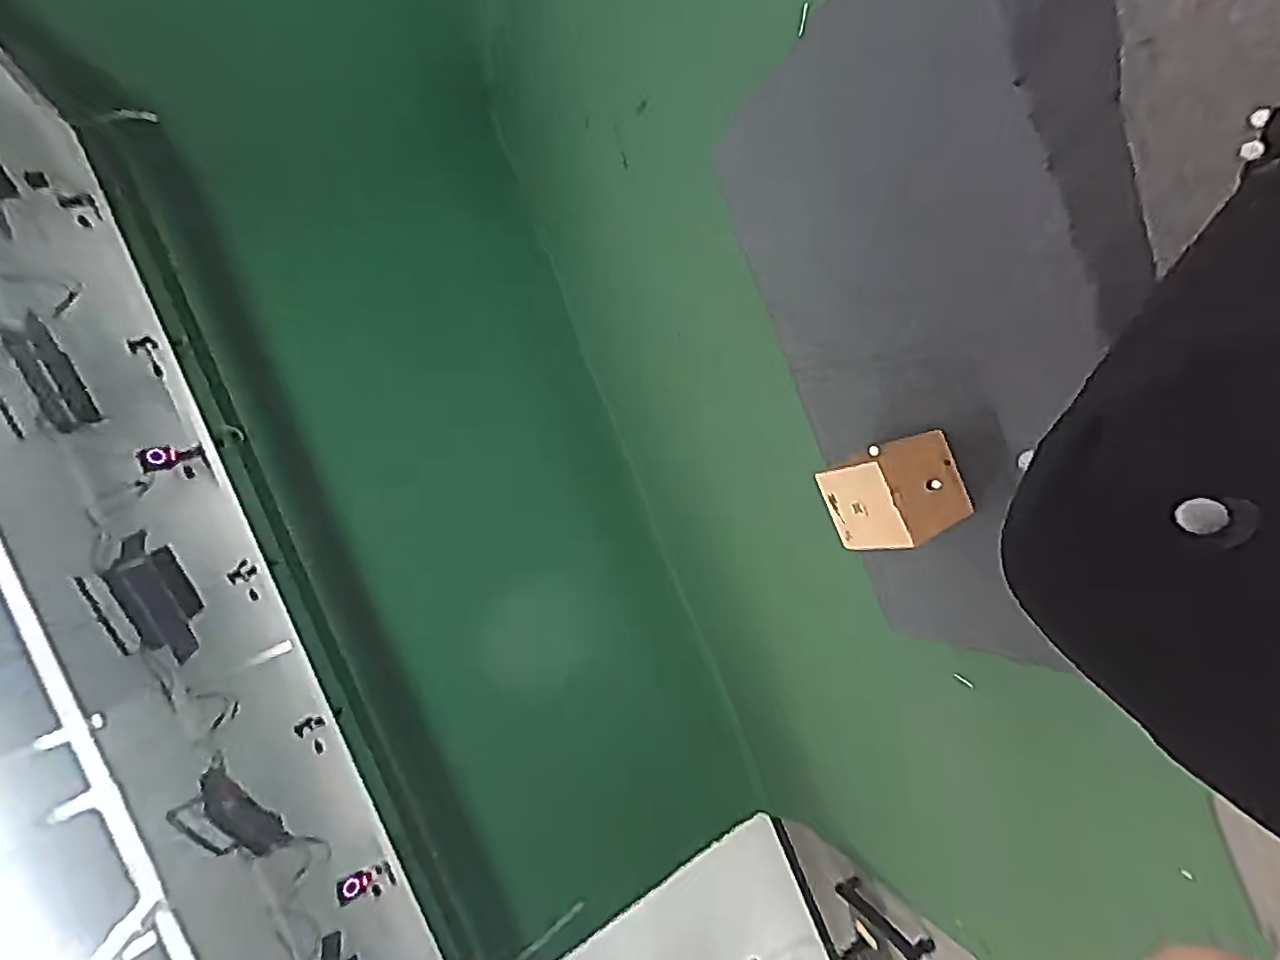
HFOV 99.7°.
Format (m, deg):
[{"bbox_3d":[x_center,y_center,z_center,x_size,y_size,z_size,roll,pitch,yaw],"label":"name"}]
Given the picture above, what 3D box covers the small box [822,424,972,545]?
[{"bbox_3d":[0.495,0.010,1.036,0.168,0.176,0.179,65,159,1],"label":"small box"}]
